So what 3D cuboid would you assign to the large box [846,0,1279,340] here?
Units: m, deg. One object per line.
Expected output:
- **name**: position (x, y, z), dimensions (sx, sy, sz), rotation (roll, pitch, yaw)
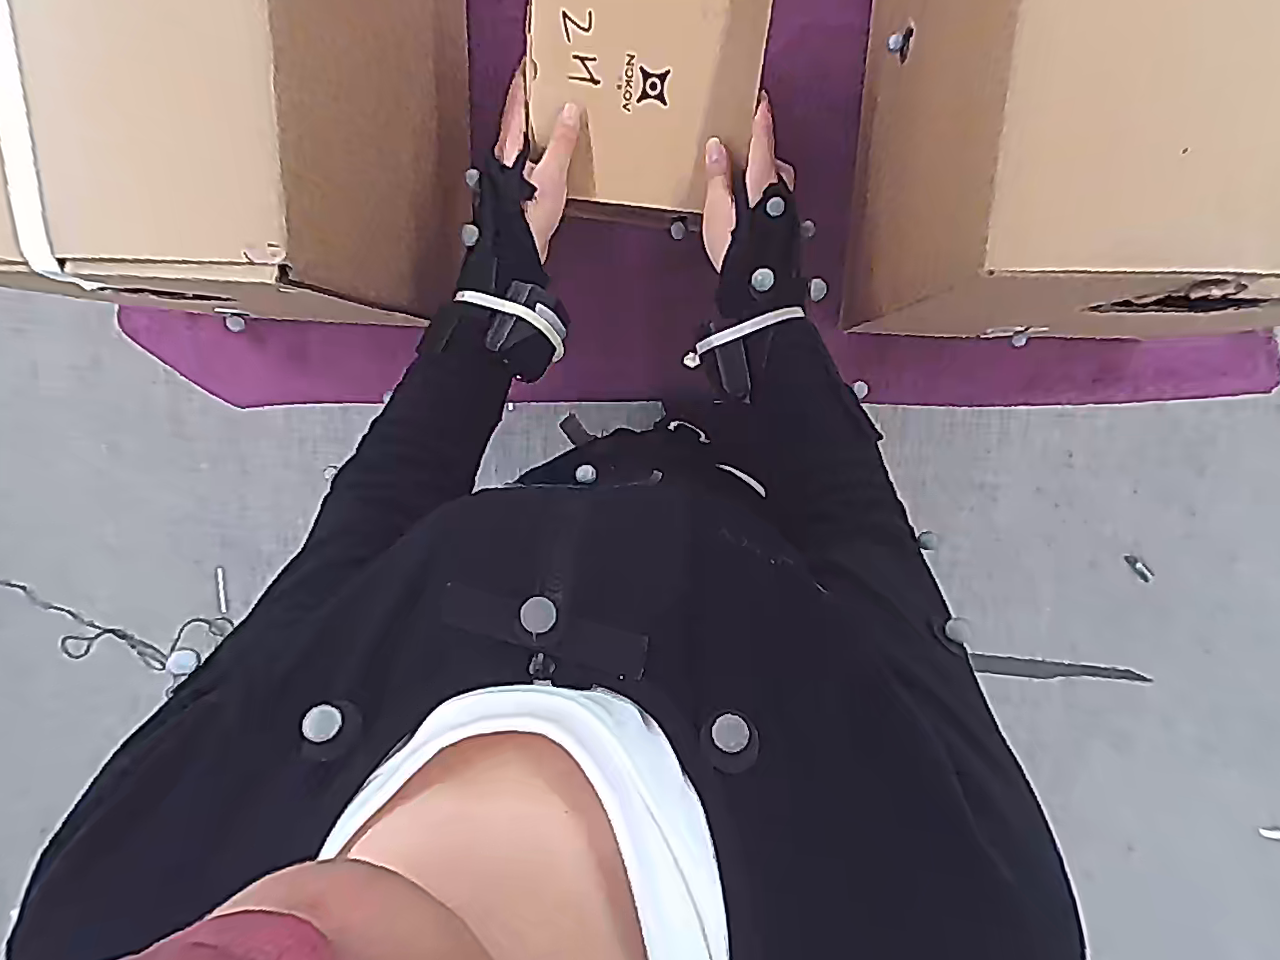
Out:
- **large box**: position (0.352, -0.320, 0.388), dimensions (0.320, 0.320, 0.408), rotation (3, 99, 6)
